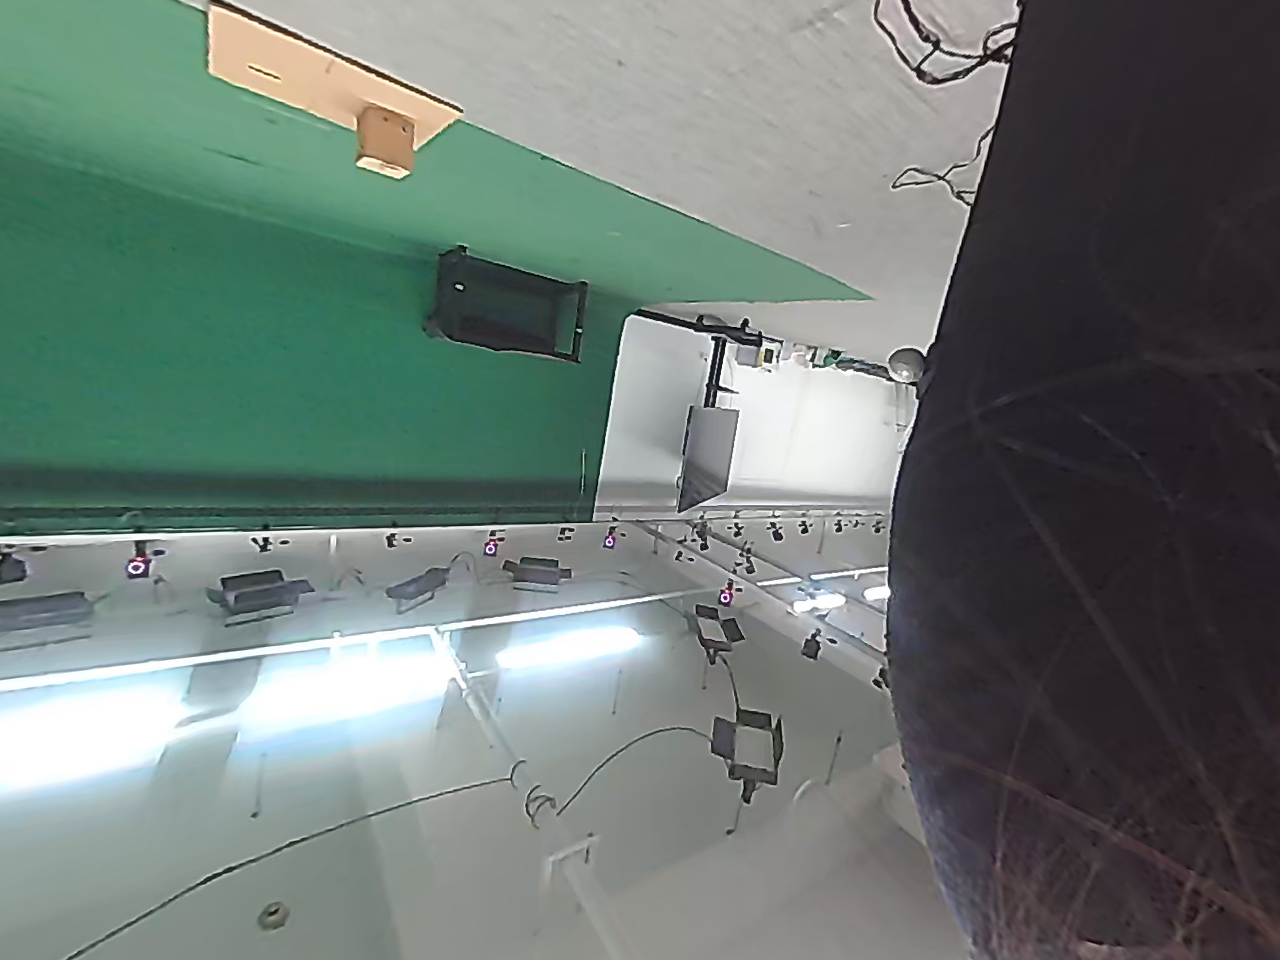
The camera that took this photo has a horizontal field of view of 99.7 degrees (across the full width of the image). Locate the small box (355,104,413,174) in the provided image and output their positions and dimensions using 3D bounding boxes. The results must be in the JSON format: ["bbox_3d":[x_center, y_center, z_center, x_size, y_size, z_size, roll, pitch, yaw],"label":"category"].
[{"bbox_3d":[-0.976,-1.299,2.060,0.168,0.176,0.179,0,-165,-40],"label":"small box"}]
